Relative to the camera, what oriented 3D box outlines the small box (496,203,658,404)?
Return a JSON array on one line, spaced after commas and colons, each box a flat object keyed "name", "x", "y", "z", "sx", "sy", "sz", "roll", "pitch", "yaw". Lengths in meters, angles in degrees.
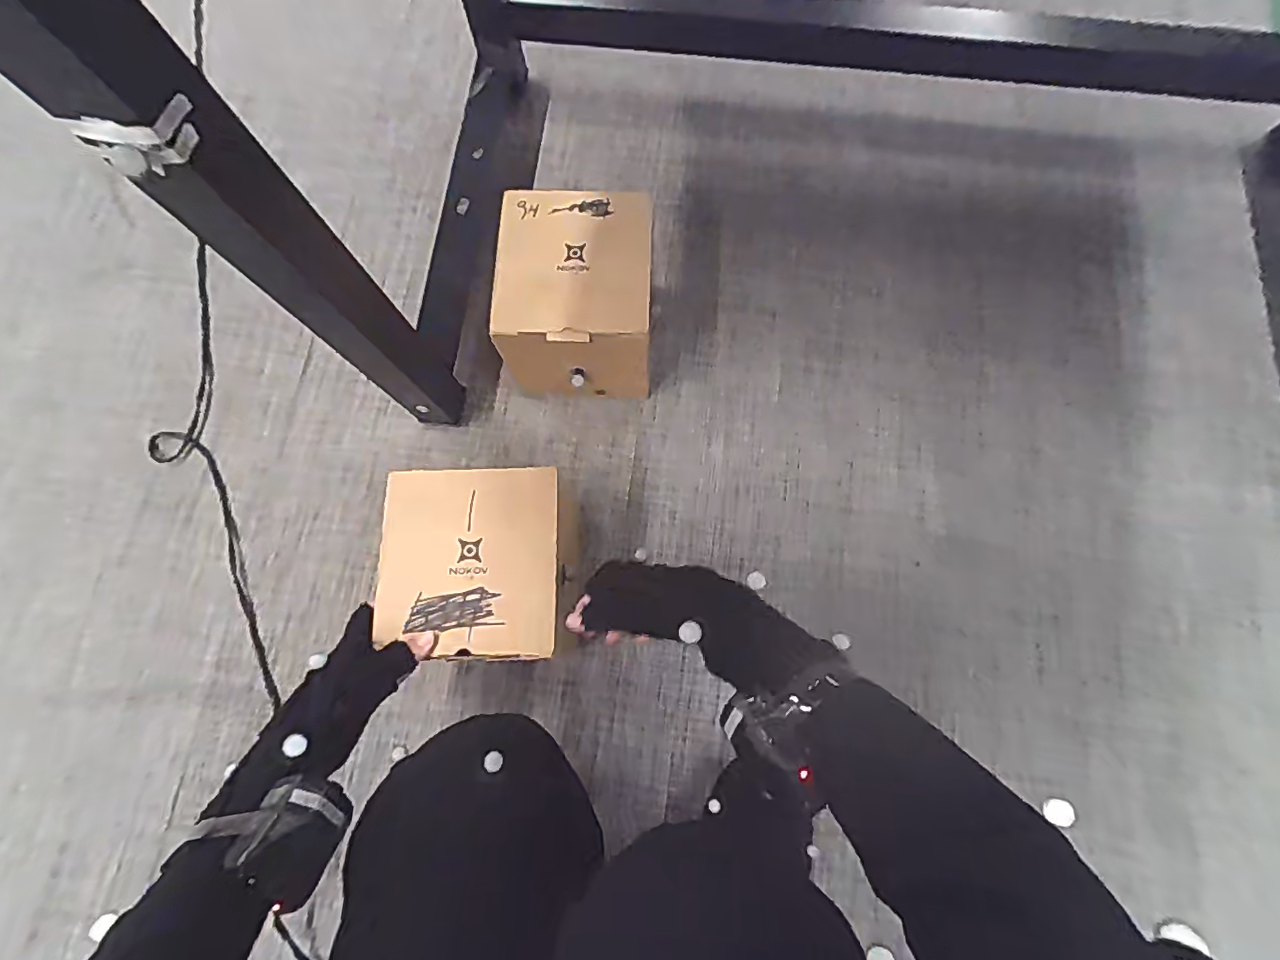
[{"name": "small box", "x": -0.064, "y": -0.201, "z": 0.654, "sx": 0.168, "sy": 0.176, "sz": 0.179, "roll": 2, "pitch": 77, "yaw": 1}]
